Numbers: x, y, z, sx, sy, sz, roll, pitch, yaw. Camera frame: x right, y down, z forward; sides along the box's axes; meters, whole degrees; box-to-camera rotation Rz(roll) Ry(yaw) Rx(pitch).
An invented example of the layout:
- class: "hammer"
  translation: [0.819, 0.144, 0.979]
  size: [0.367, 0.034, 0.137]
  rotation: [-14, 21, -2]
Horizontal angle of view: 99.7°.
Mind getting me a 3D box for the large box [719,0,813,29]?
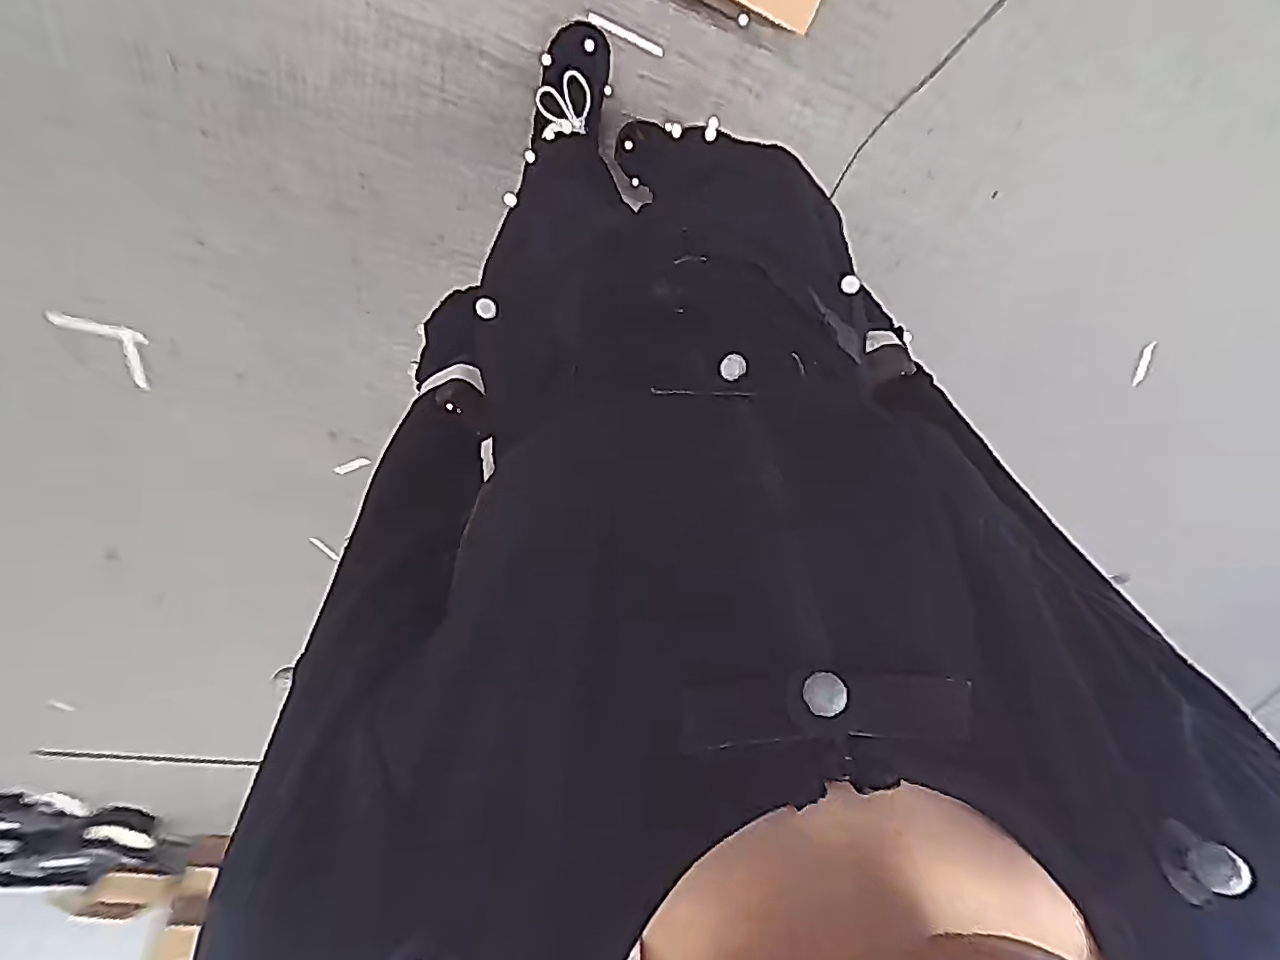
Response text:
- class: "large box"
  translation: [0.073, -0.850, 0.679]
  size: [0.408, 0.320, 0.320]
  rotation: [13, 129, -18]
